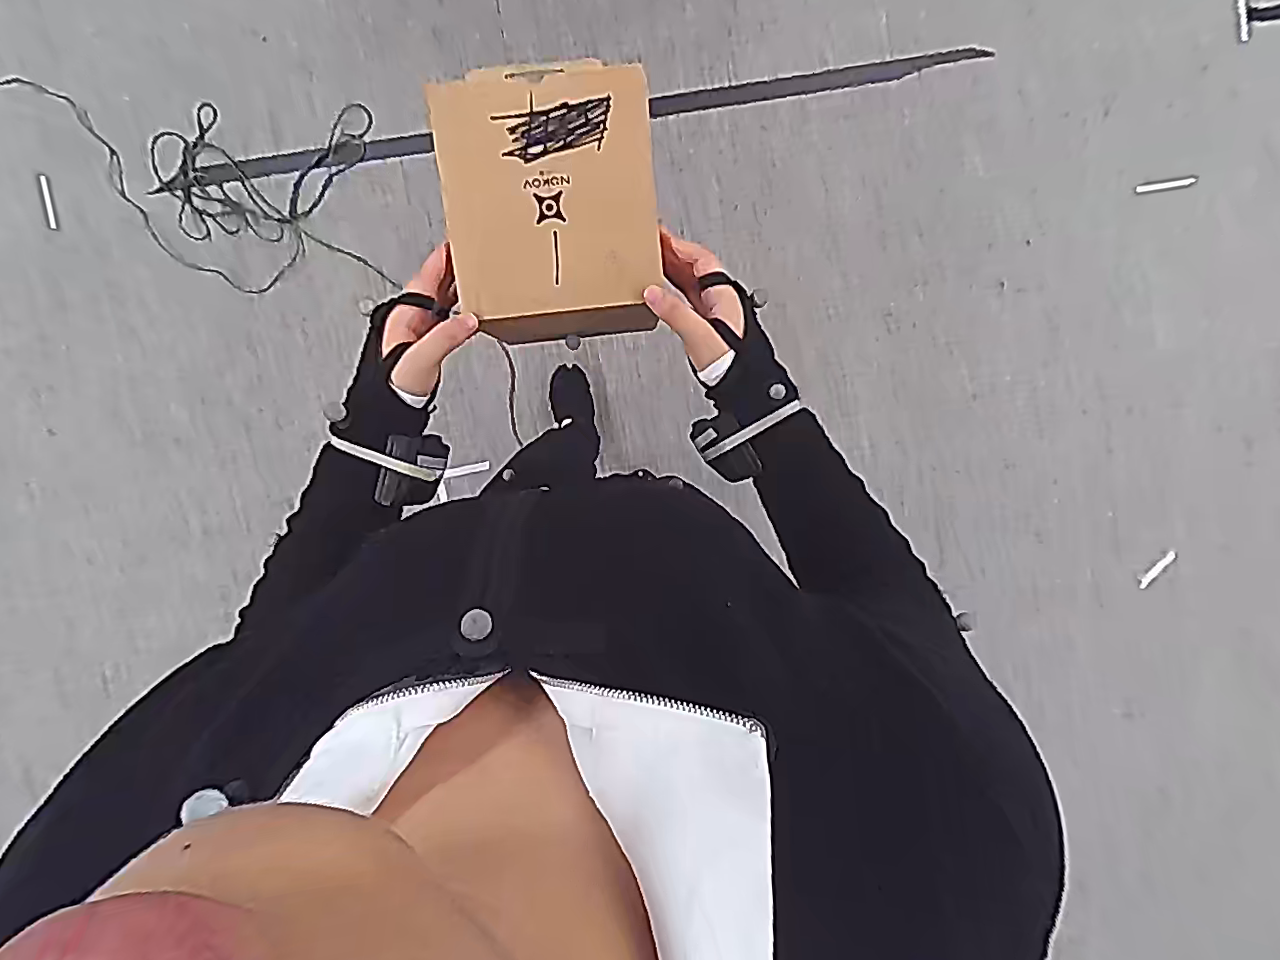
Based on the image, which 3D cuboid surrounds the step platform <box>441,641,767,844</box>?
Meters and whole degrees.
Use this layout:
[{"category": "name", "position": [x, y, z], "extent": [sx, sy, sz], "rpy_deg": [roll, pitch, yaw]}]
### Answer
[{"category": "step platform", "position": [-0.073, 0.577, 1.229], "extent": [0.684, 0.204, 0.286], "rpy_deg": [-10, 95, 2]}]

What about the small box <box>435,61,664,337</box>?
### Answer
[{"category": "small box", "position": [-0.071, -0.239, 0.503], "extent": [0.168, 0.176, 0.179], "rpy_deg": [-6, 98, 0]}]

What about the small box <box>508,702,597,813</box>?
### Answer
[{"category": "small box", "position": [-0.195, 0.634, 1.269], "extent": [0.168, 0.176, 0.179], "rpy_deg": [-11, 94, 0]}]
